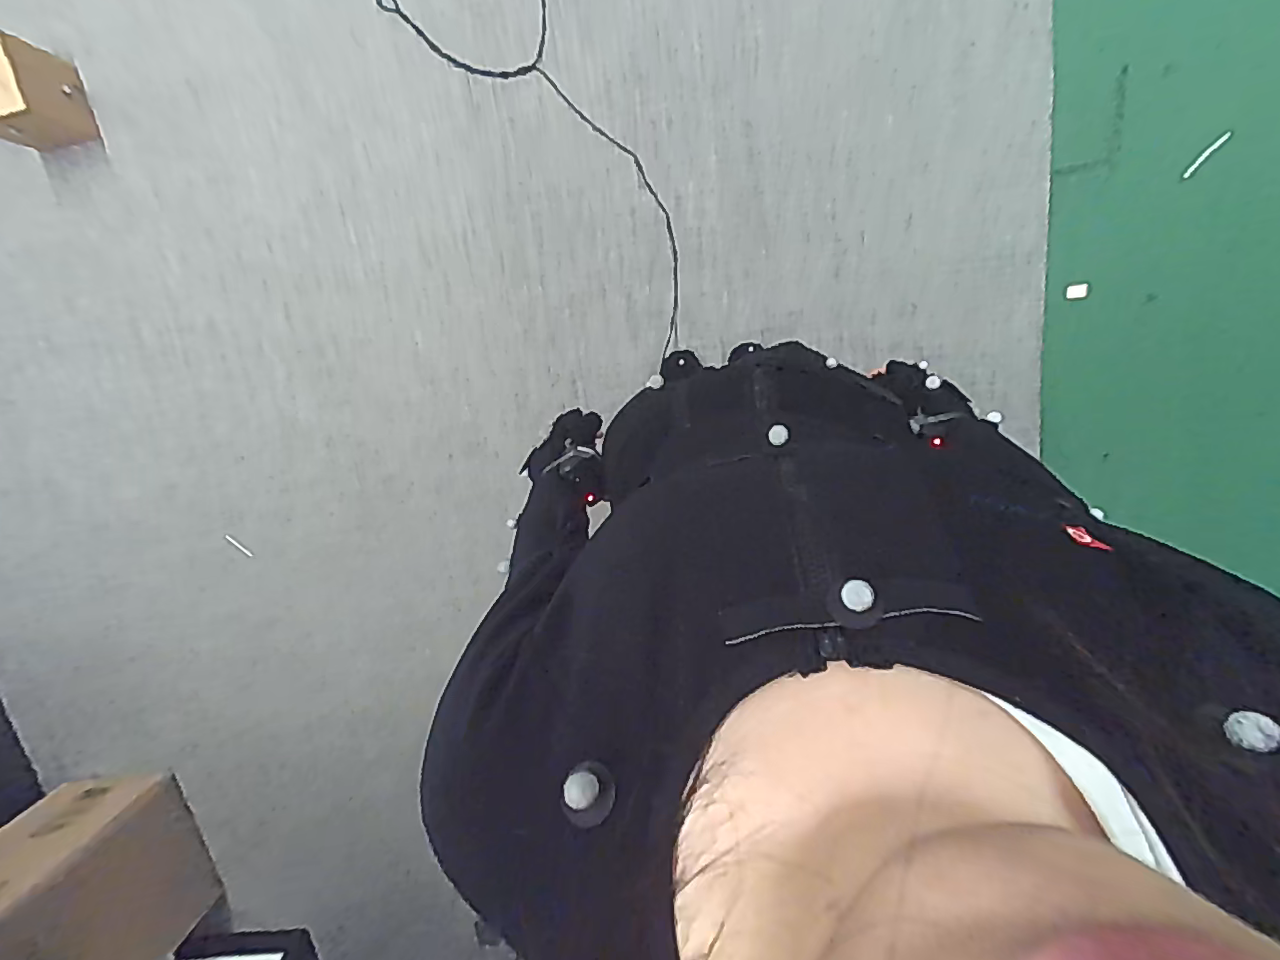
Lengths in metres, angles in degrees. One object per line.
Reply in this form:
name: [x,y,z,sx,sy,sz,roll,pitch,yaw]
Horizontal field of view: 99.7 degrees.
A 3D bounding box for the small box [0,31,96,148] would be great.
small box: [-1.465,-0.910,1.273,0.179,0.176,0.168,-9,104,5]
